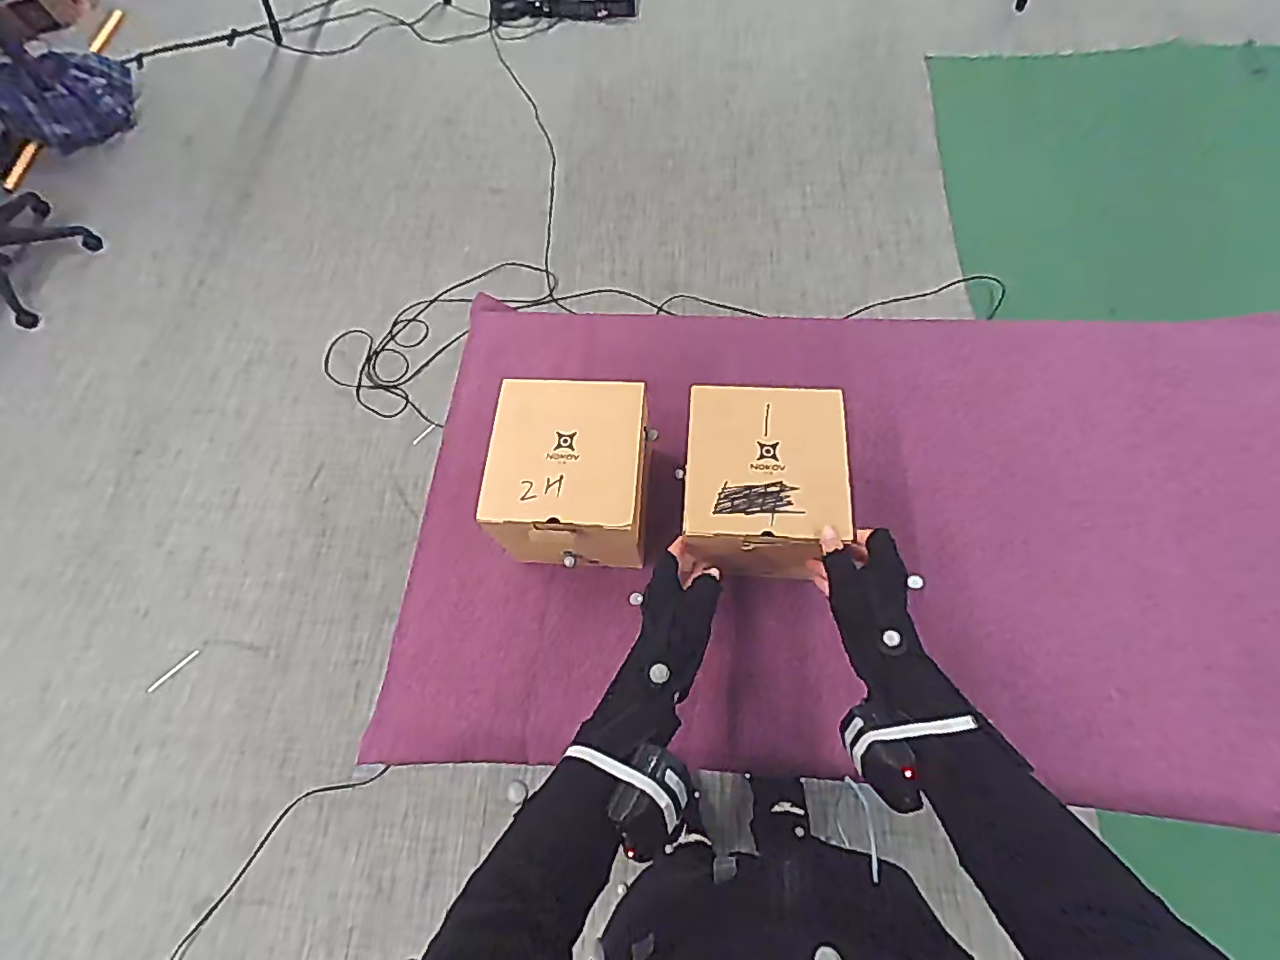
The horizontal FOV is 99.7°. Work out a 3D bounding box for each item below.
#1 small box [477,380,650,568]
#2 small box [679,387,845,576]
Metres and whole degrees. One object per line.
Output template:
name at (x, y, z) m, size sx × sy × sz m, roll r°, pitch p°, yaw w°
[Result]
small box at (-0.077, -0.002, 0.661) m, size 0.168 × 0.176 × 0.179 m, roll 2°, pitch 68°, yaw 6°
small box at (0.135, 0.010, 0.640) m, size 0.168 × 0.176 × 0.179 m, roll 3°, pitch 67°, yaw 6°
